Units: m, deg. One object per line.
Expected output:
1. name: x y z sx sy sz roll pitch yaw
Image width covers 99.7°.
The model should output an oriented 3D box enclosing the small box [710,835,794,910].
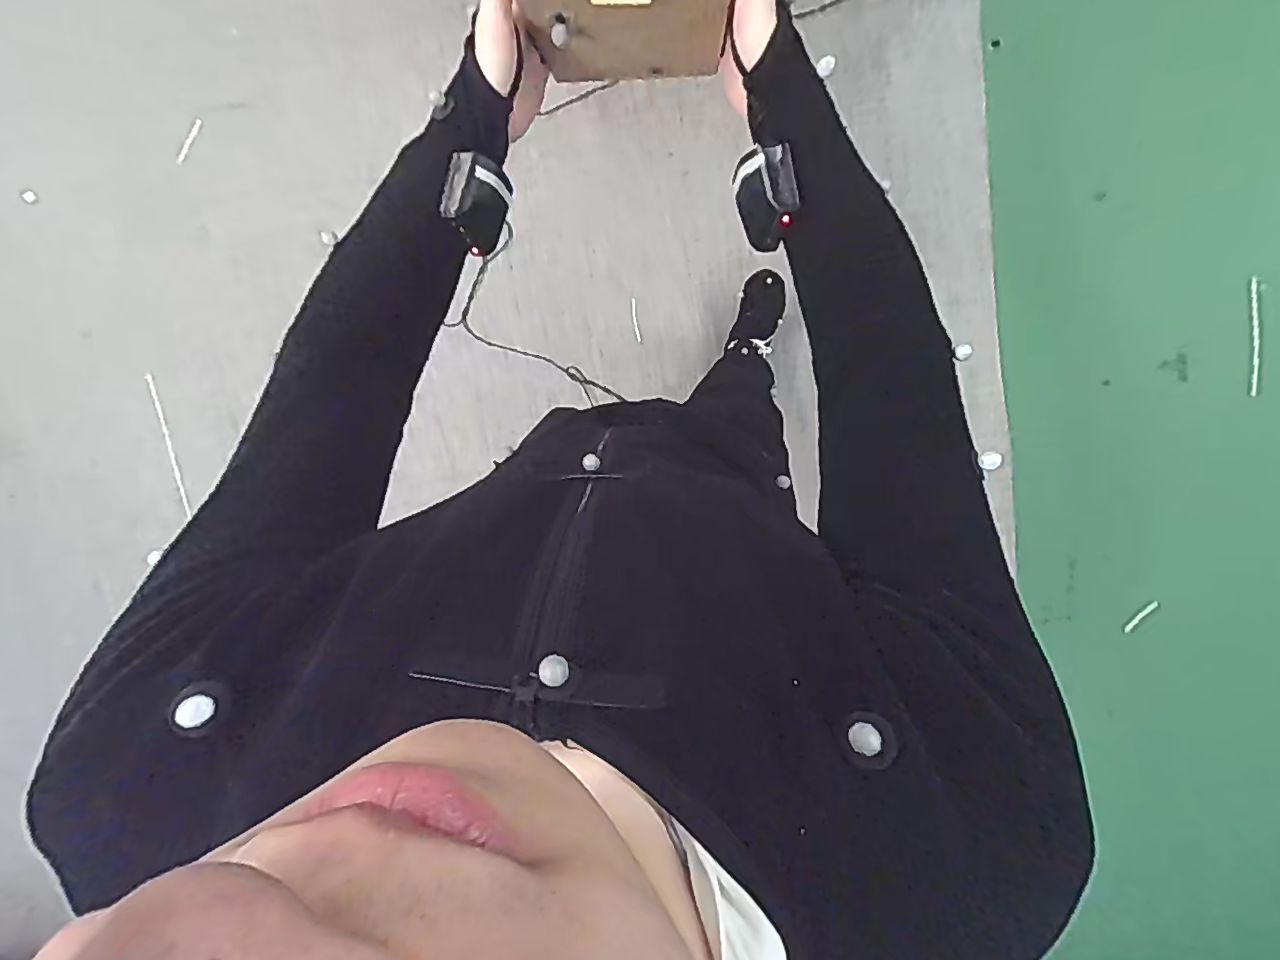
1. small box: 0.259 0.953 1.244 0.168 0.176 0.179 -10 99 5

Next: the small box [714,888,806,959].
1. small box: 0.247 0.969 1.080 0.168 0.176 0.179 -12 98 4
